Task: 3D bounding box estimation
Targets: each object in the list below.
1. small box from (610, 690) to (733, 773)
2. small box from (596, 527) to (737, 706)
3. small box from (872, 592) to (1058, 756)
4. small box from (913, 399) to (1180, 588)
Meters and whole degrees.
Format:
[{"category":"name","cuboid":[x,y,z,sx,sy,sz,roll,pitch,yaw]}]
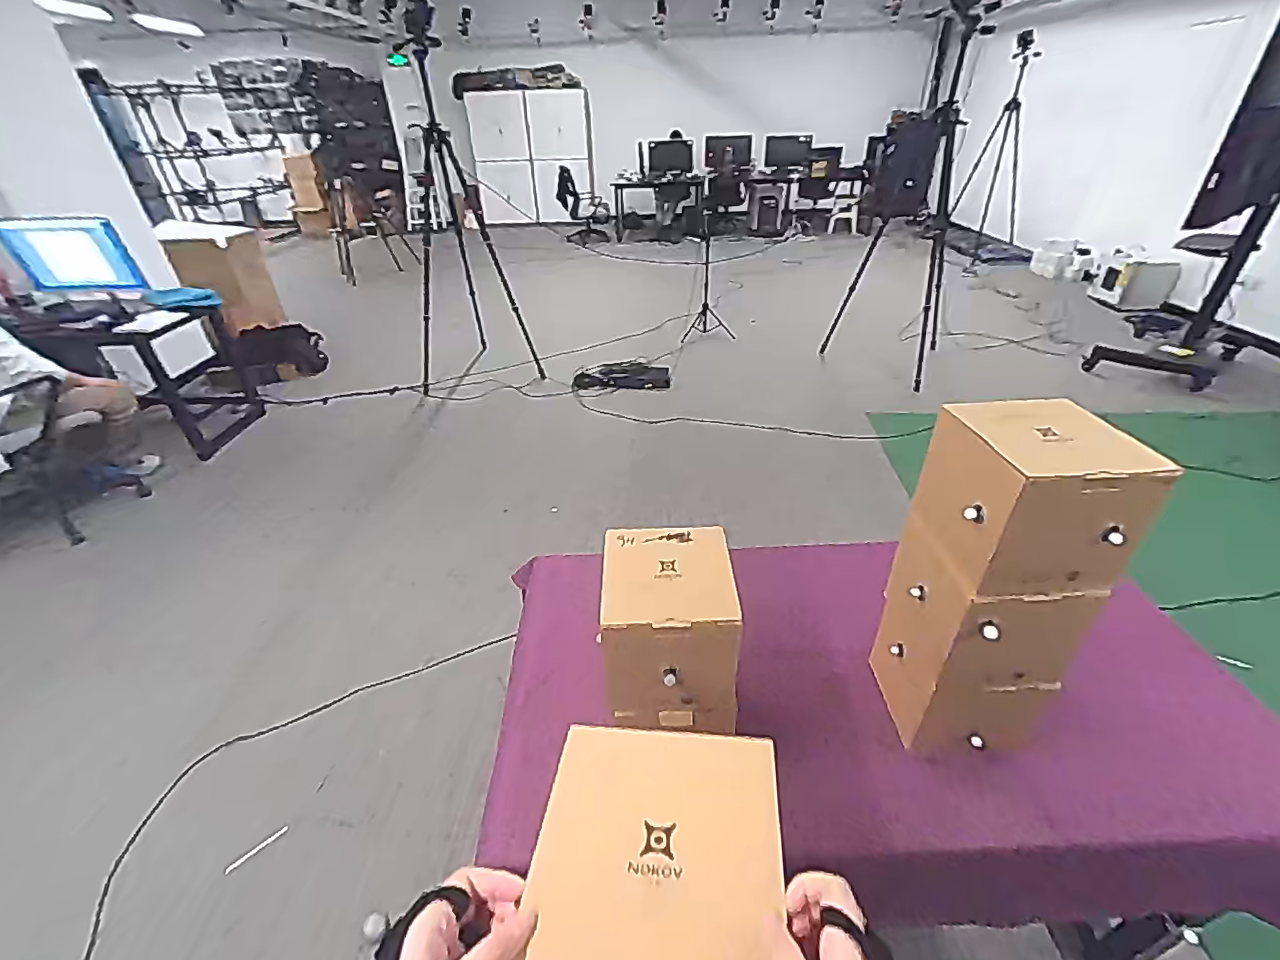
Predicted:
[{"category":"small box","cuboid":[0.043,0.321,0.818,0.168,0.176,0.179,-3,33,-1]},{"category":"small box","cuboid":[0.034,0.185,0.727,0.168,0.176,0.179,-1,35,1]},{"category":"small box","cuboid":[0.476,0.294,0.829,0.168,0.176,0.179,-2,34,2]},{"category":"small box","cuboid":[0.462,0.018,0.653,0.168,0.176,0.179,-2,33,-1]}]
